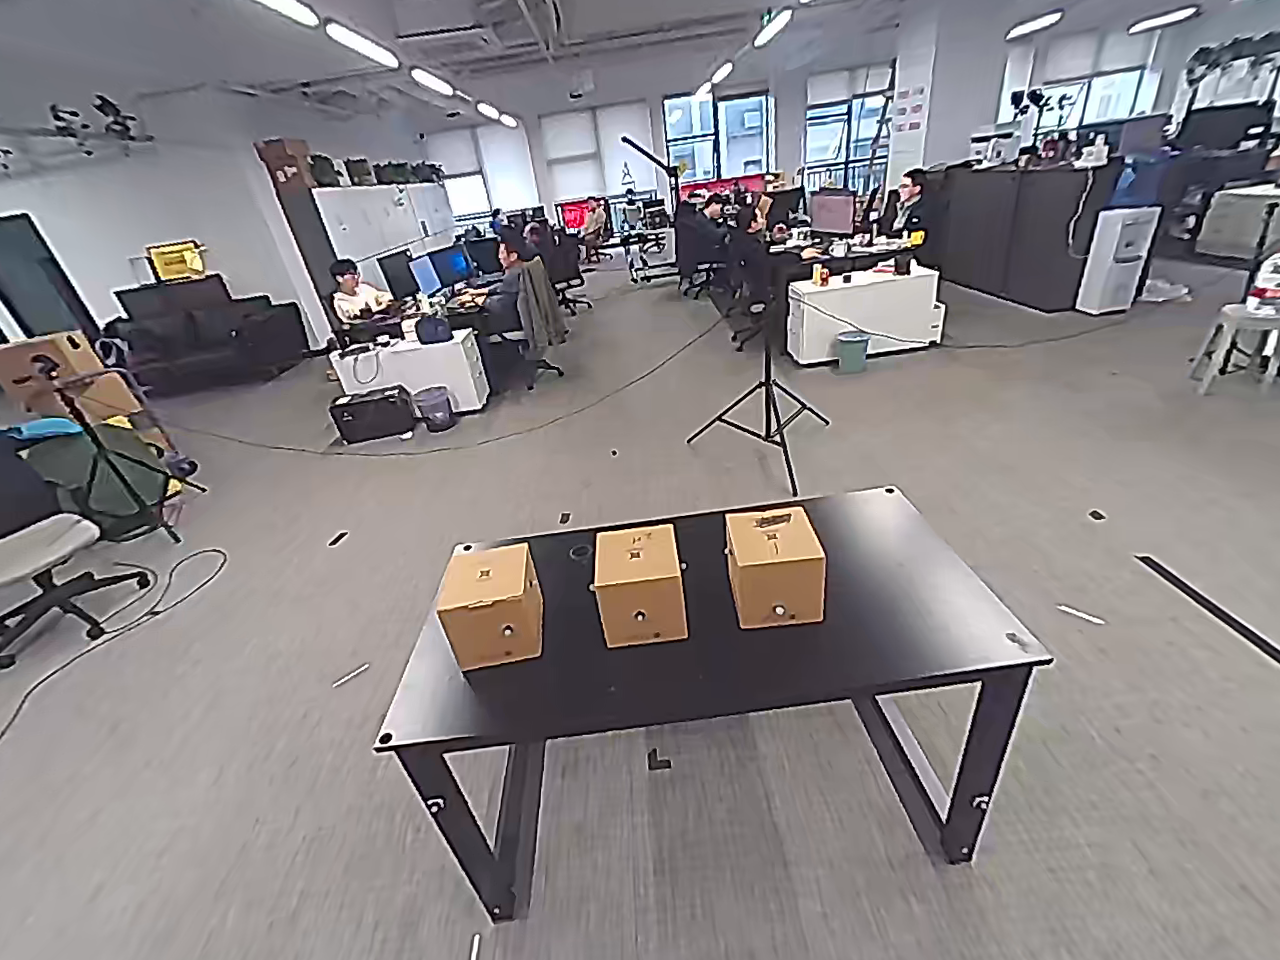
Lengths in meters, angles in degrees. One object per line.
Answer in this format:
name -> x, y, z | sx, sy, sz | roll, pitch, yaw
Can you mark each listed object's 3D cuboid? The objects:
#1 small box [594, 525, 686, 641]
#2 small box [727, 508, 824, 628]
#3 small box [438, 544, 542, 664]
small box -> 0.001, 0.218, 1.127 | 0.168, 0.176, 0.179 | -7, 29, 2
small box -> 0.274, 0.180, 1.122 | 0.168, 0.176, 0.179 | -7, 30, 4
small box -> -0.303, 0.263, 1.132 | 0.168, 0.176, 0.179 | -9, 28, -4
